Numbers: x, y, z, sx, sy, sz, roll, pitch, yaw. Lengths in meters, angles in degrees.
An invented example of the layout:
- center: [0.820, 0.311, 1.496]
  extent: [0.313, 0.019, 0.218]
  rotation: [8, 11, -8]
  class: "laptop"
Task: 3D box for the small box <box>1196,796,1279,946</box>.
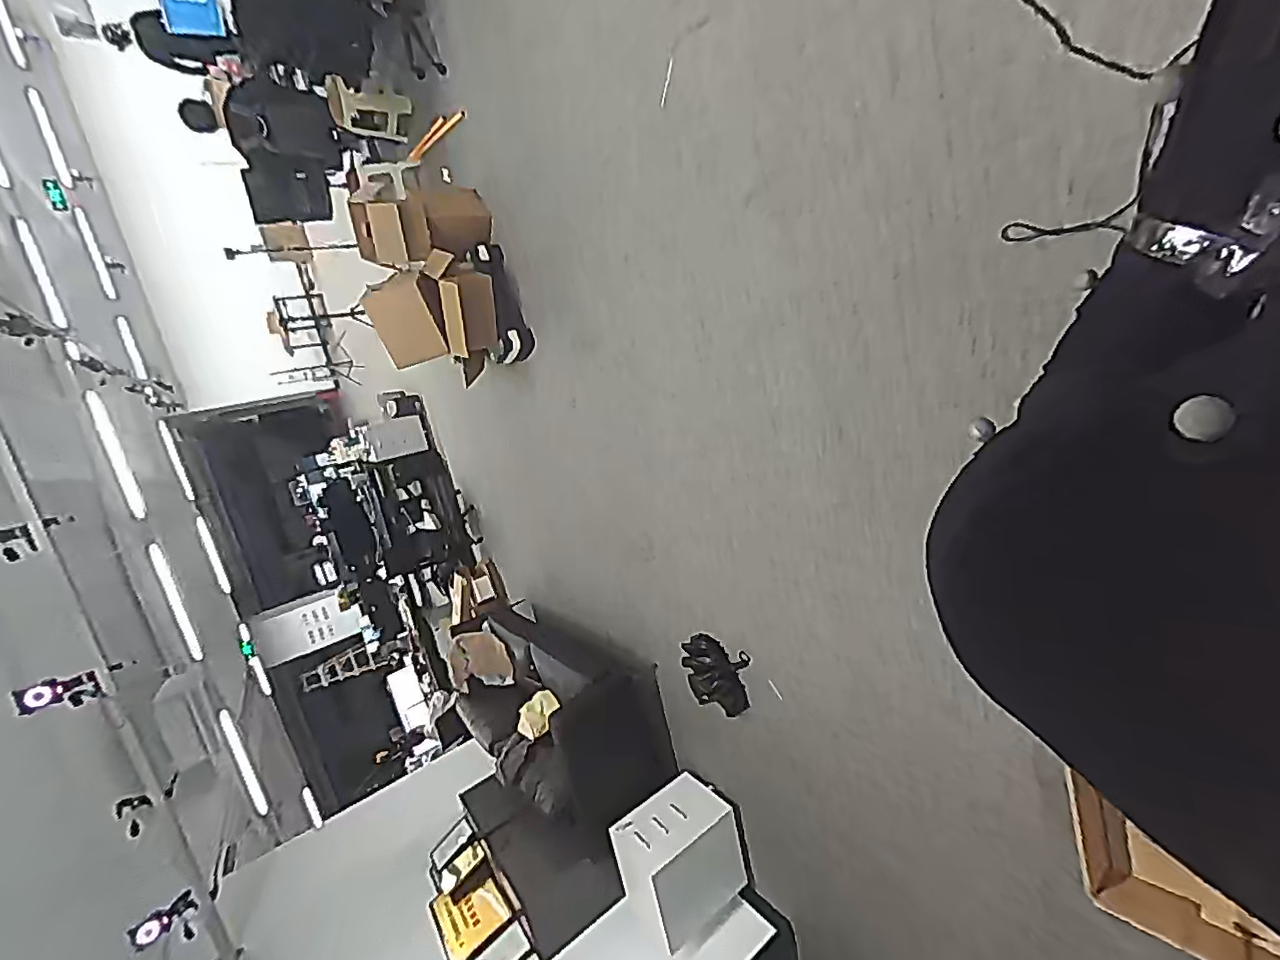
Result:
- center: [1.252, 0.786, 1.086]
  extent: [0.168, 0.176, 0.179]
  rotation: [2, 109, 56]
  class: "small box"
